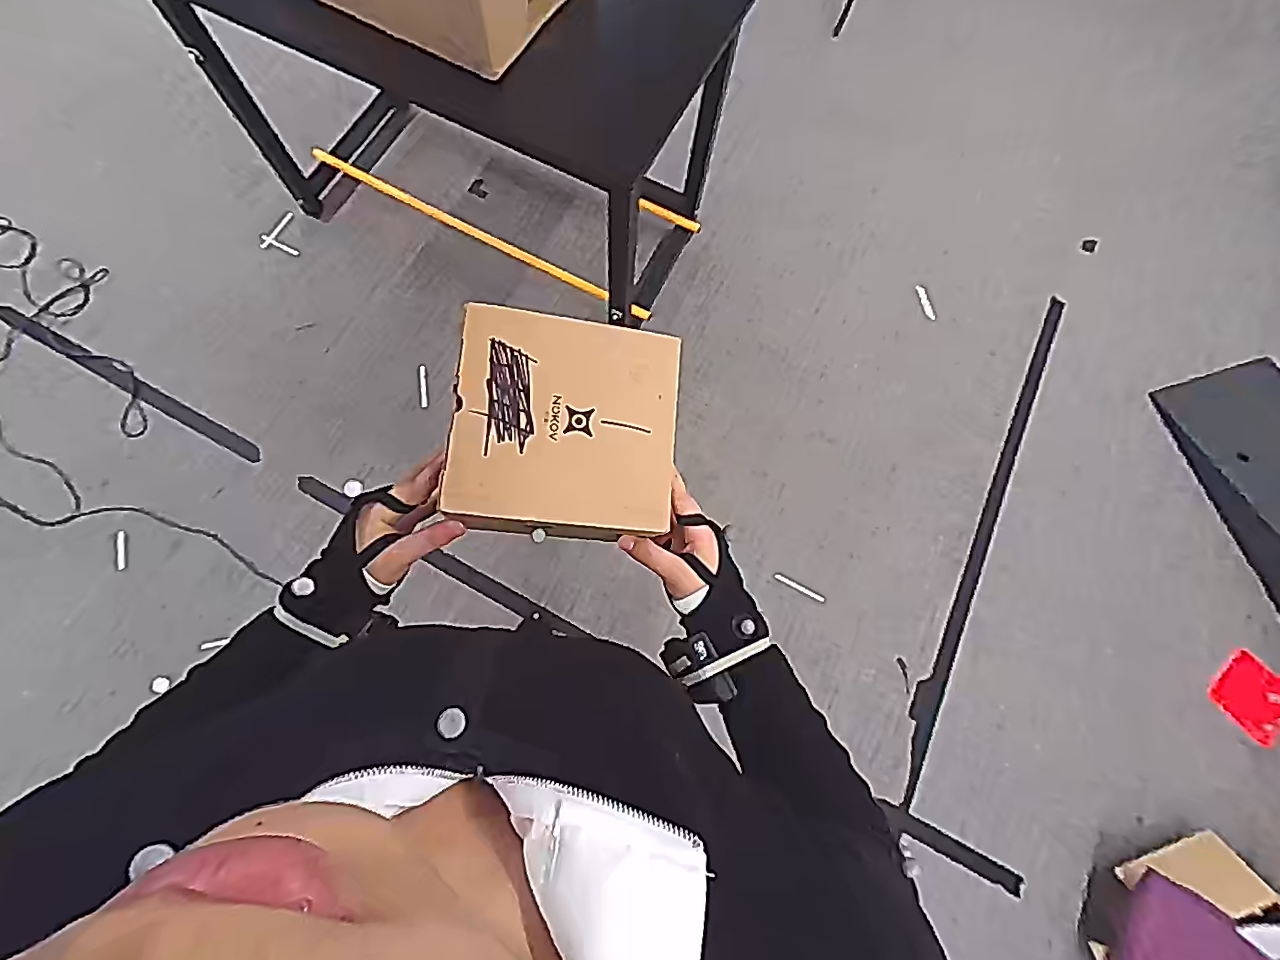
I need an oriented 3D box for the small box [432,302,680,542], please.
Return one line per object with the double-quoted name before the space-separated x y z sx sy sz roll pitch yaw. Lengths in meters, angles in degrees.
"small box" -0.074 -0.034 0.489 0.179 0.176 0.168 6 80 -12
